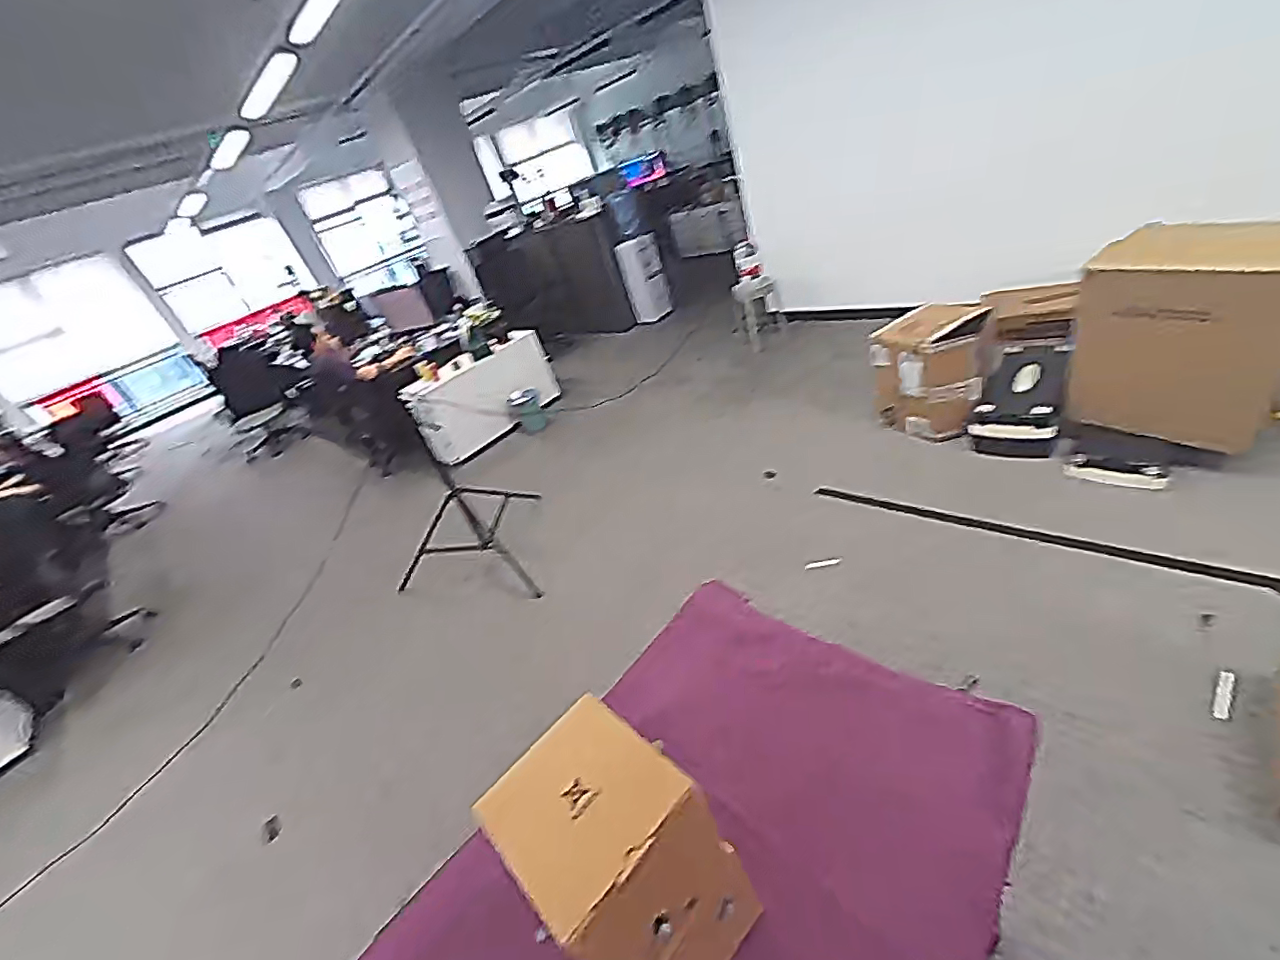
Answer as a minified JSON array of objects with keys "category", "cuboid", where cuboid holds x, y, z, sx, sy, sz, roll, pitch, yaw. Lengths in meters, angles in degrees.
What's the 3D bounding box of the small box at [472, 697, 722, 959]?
[{"category":"small box","cuboid":[-0.040,0.379,0.572,0.168,0.176,0.179,-39,35,-29]}]
